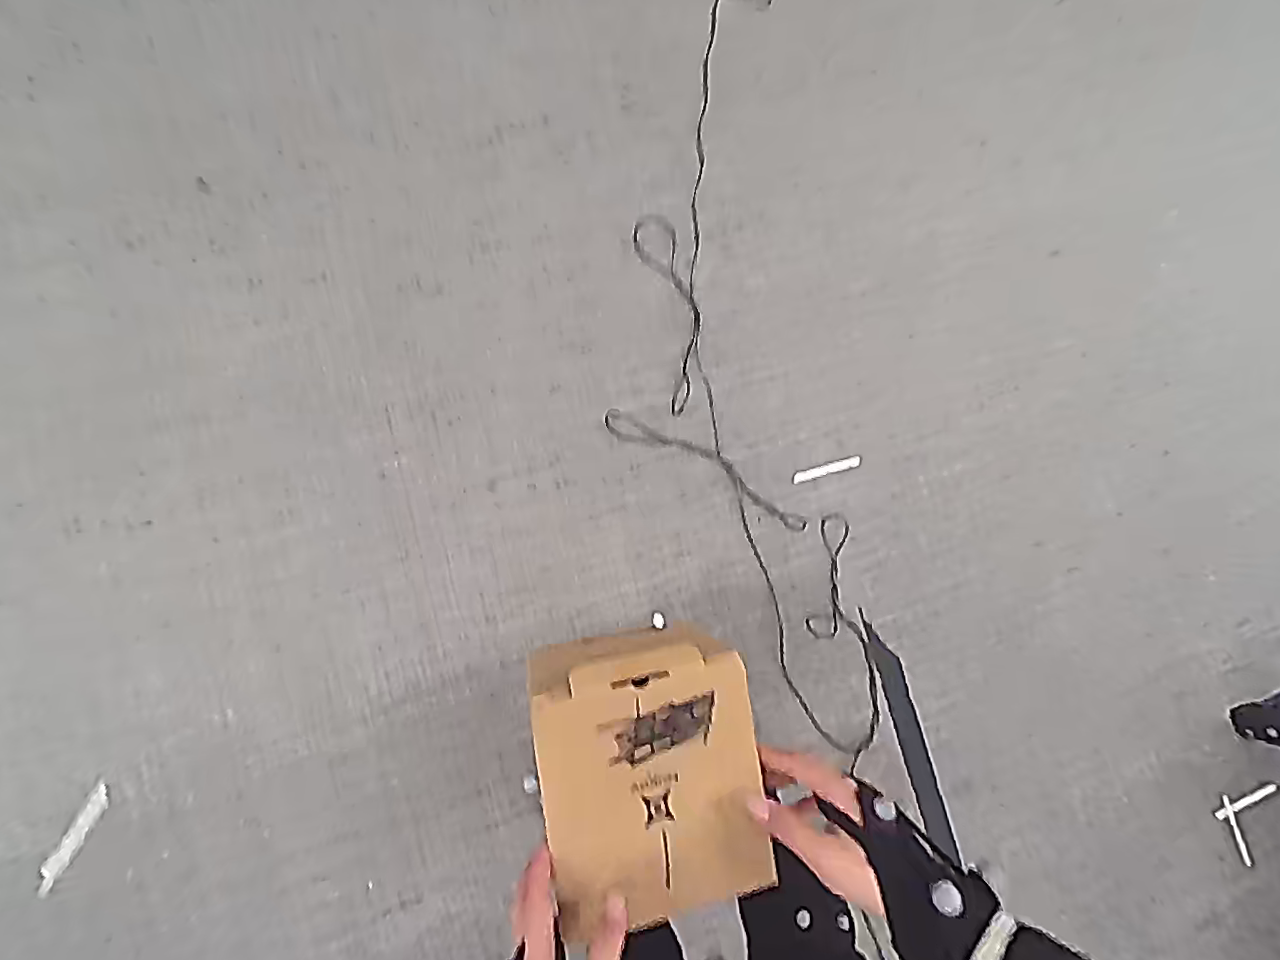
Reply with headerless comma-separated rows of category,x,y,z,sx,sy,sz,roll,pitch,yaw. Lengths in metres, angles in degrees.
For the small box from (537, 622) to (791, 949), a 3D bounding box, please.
small box,0.005,0.227,0.463,0.168,0.176,0.179,-8,87,-13
